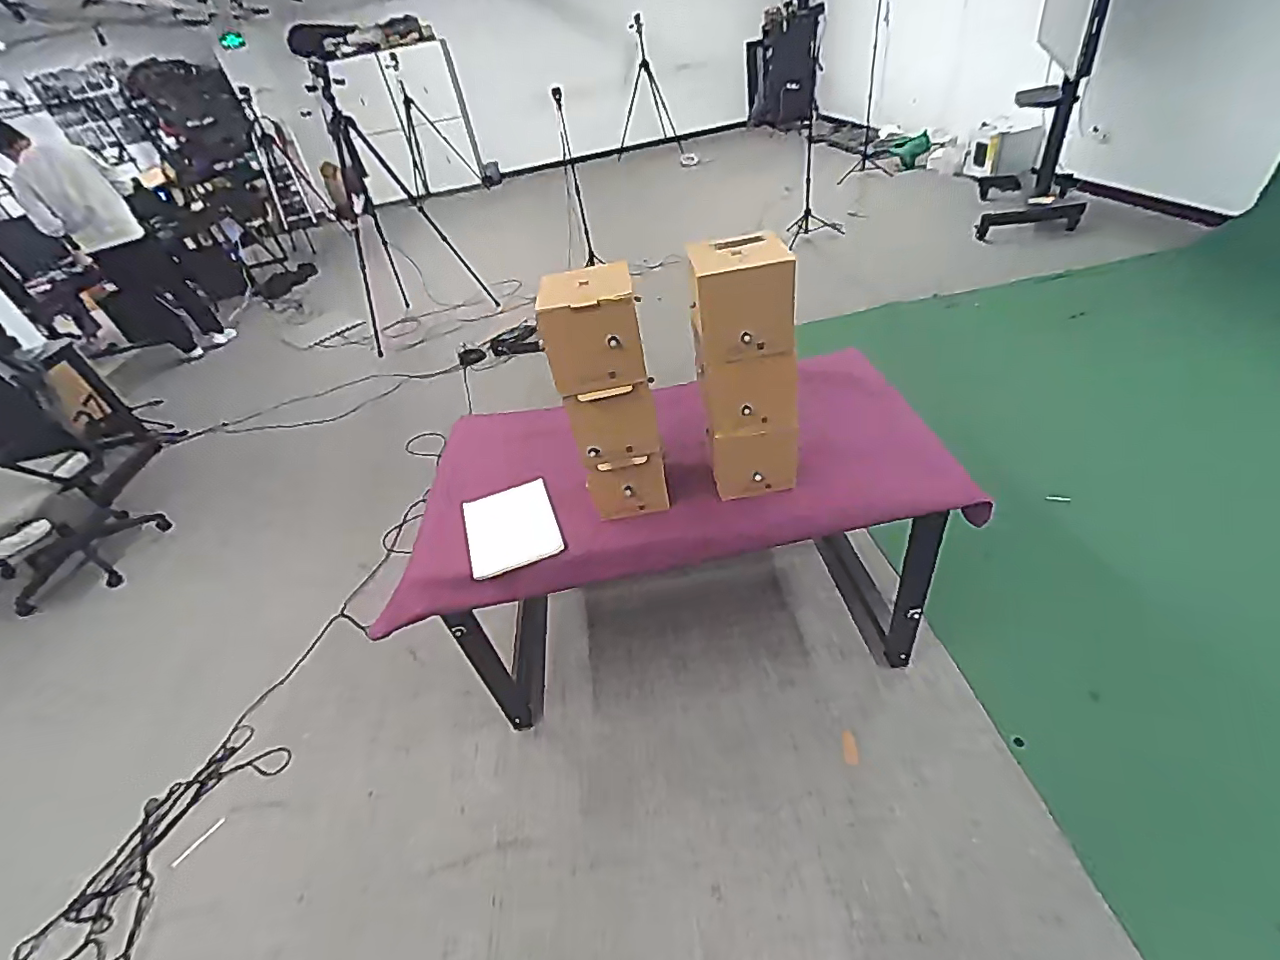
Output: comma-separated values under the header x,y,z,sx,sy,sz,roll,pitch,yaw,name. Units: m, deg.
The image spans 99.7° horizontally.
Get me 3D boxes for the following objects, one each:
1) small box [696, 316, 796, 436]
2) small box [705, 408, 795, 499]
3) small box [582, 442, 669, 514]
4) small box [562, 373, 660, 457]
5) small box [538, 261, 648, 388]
x,y,z,sx,sy,sz,roll,pitch,yaw,name
0.212,-0.212,1.107,0.168,0.176,0.179,-9,39,2,small box
0.240,-0.084,1.203,0.168,0.176,0.179,-11,38,3,small box
-0.031,-0.039,1.218,0.168,0.176,0.179,-9,40,2,small box
-0.056,-0.160,1.109,0.168,0.176,0.179,-10,38,2,small box
-0.081,-0.281,1.002,0.168,0.176,0.179,-9,39,2,small box
